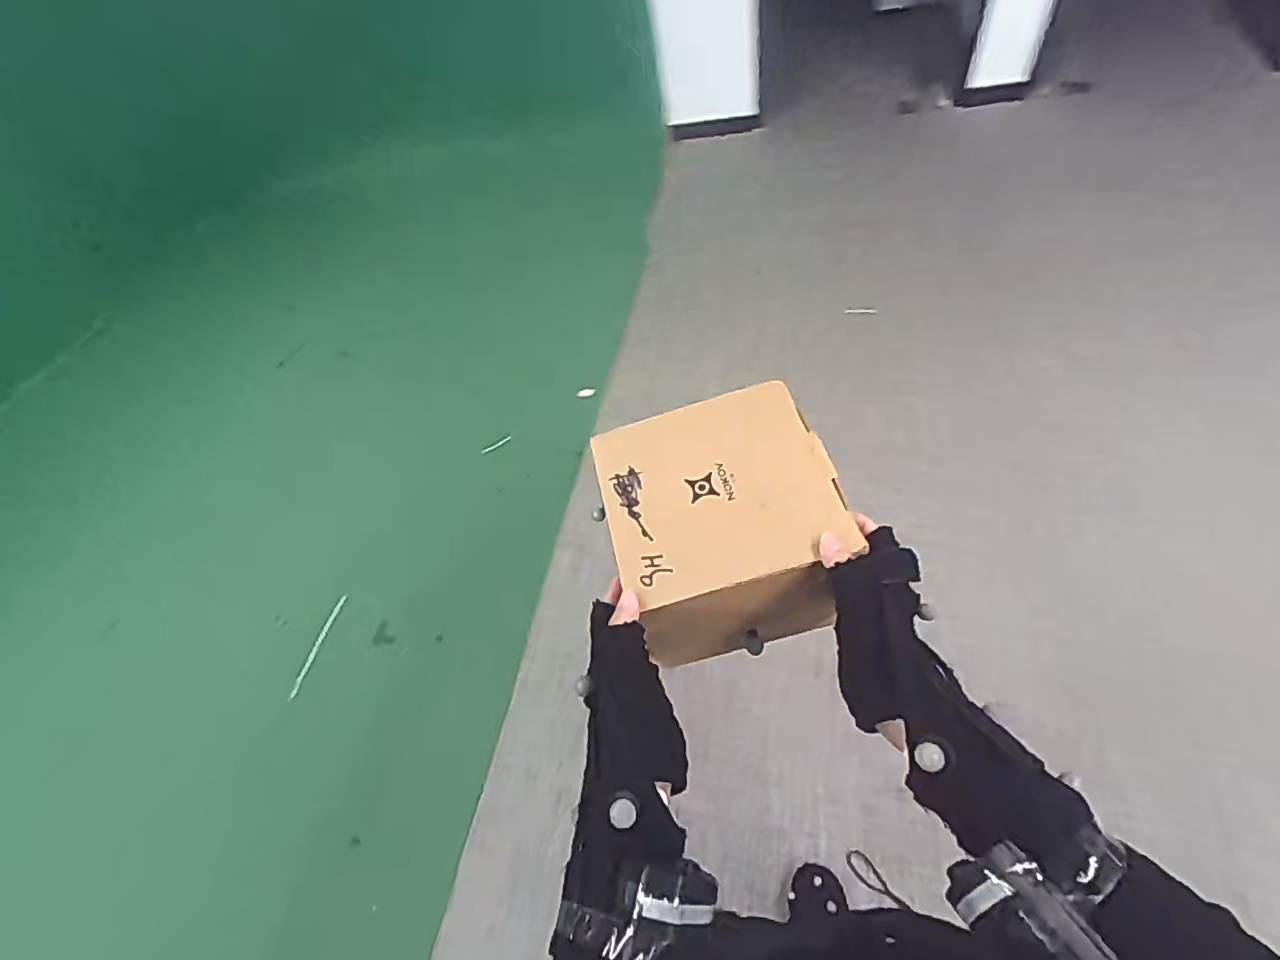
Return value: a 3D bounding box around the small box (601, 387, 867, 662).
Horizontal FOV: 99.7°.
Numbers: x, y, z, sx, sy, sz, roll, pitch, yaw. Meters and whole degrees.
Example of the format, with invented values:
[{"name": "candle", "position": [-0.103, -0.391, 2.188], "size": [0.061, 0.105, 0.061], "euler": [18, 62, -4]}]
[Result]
[{"name": "small box", "position": [0.076, 0.048, 0.493], "size": [0.179, 0.176, 0.168], "euler": [-15, 55, 2]}]
